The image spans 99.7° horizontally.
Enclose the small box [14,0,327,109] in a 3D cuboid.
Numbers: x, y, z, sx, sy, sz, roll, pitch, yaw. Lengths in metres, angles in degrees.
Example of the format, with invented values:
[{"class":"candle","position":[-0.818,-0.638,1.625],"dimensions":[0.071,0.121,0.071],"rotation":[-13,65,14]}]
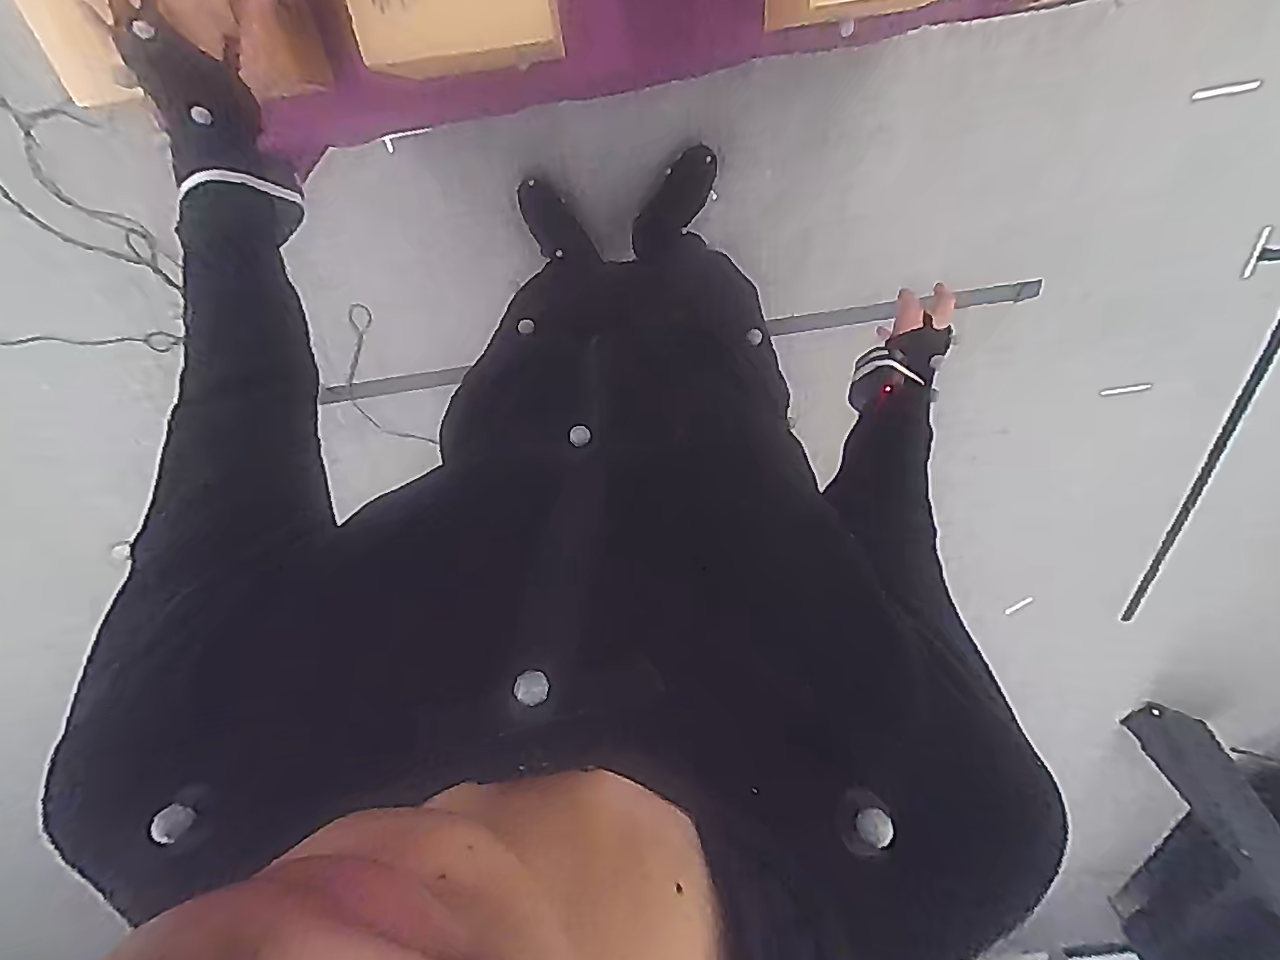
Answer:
[{"class":"small box","position":[-0.443,-0.462,0.512],"dimensions":[0.179,0.176,0.168],"rotation":[-9,124,1]}]
